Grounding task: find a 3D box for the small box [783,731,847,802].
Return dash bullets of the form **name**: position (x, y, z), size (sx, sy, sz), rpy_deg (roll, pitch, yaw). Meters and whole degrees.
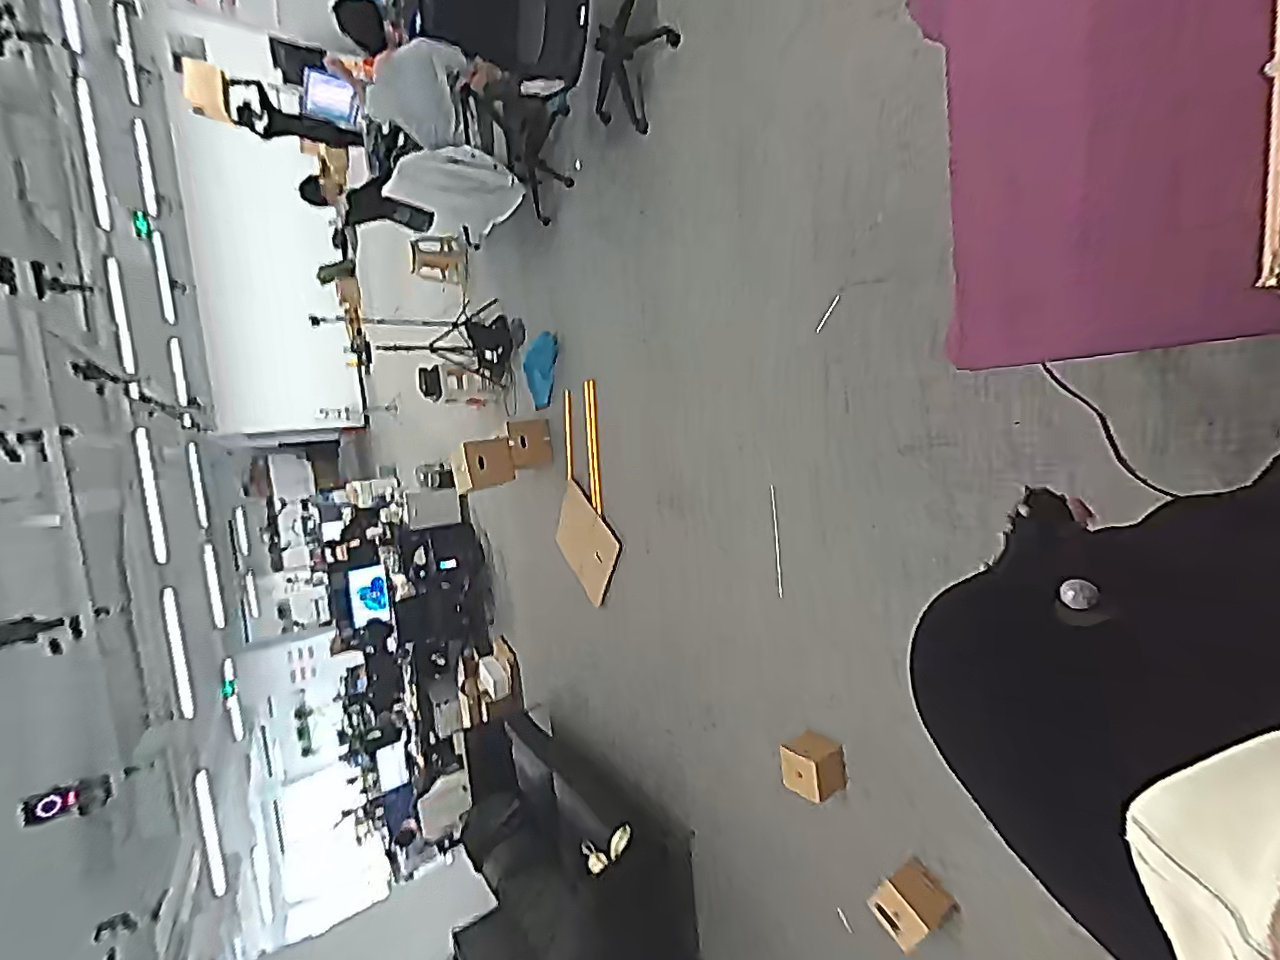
- **small box**: position (0.694, 1.117, 2.125), size (0.179, 0.176, 0.168), rpy_deg (-4, 93, 57)
